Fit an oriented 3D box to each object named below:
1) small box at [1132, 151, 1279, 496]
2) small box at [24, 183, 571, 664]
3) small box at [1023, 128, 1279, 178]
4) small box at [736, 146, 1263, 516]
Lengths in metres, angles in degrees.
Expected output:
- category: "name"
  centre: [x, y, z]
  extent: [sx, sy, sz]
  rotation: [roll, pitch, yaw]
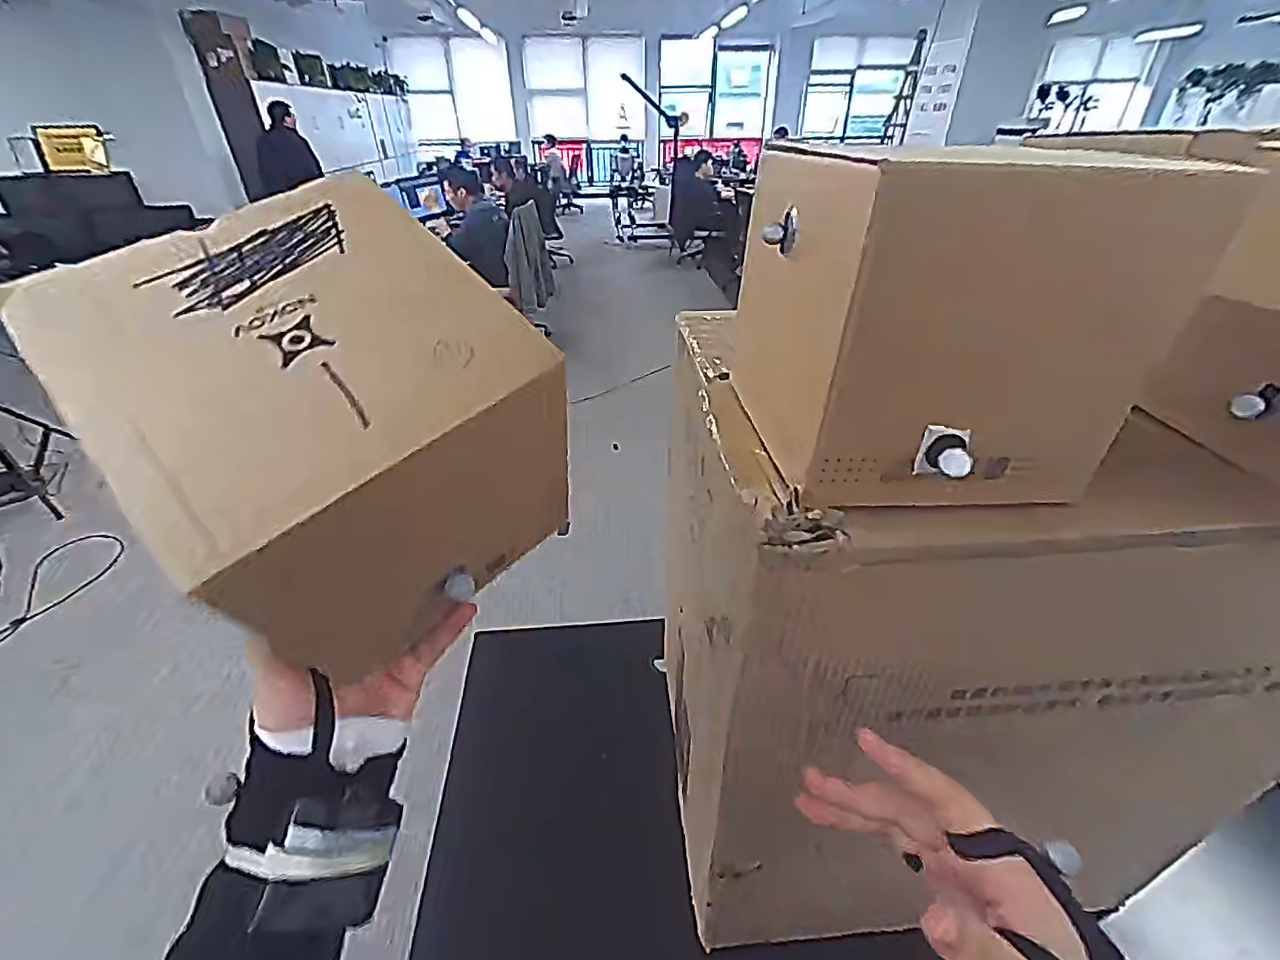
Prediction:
- category: "small box"
  centre: [0.448, -0.082, 0.303]
  extent: [0.168, 0.176, 0.179]
  rotation: [-4, 37, -3]
- category: "small box"
  centre: [-0.158, -0.025, 0.309]
  extent: [0.168, 0.176, 0.179]
  rotation: [-39, 71, -26]
- category: "small box"
  centre: [0.461, -0.219, 0.498]
  extent: [0.168, 0.176, 0.179]
  rotation: [-5, 31, -3]
- category: "small box"
  centre: [0.162, -0.096, 0.325]
  extent: [0.168, 0.176, 0.179]
  rotation: [-2, 35, -5]
